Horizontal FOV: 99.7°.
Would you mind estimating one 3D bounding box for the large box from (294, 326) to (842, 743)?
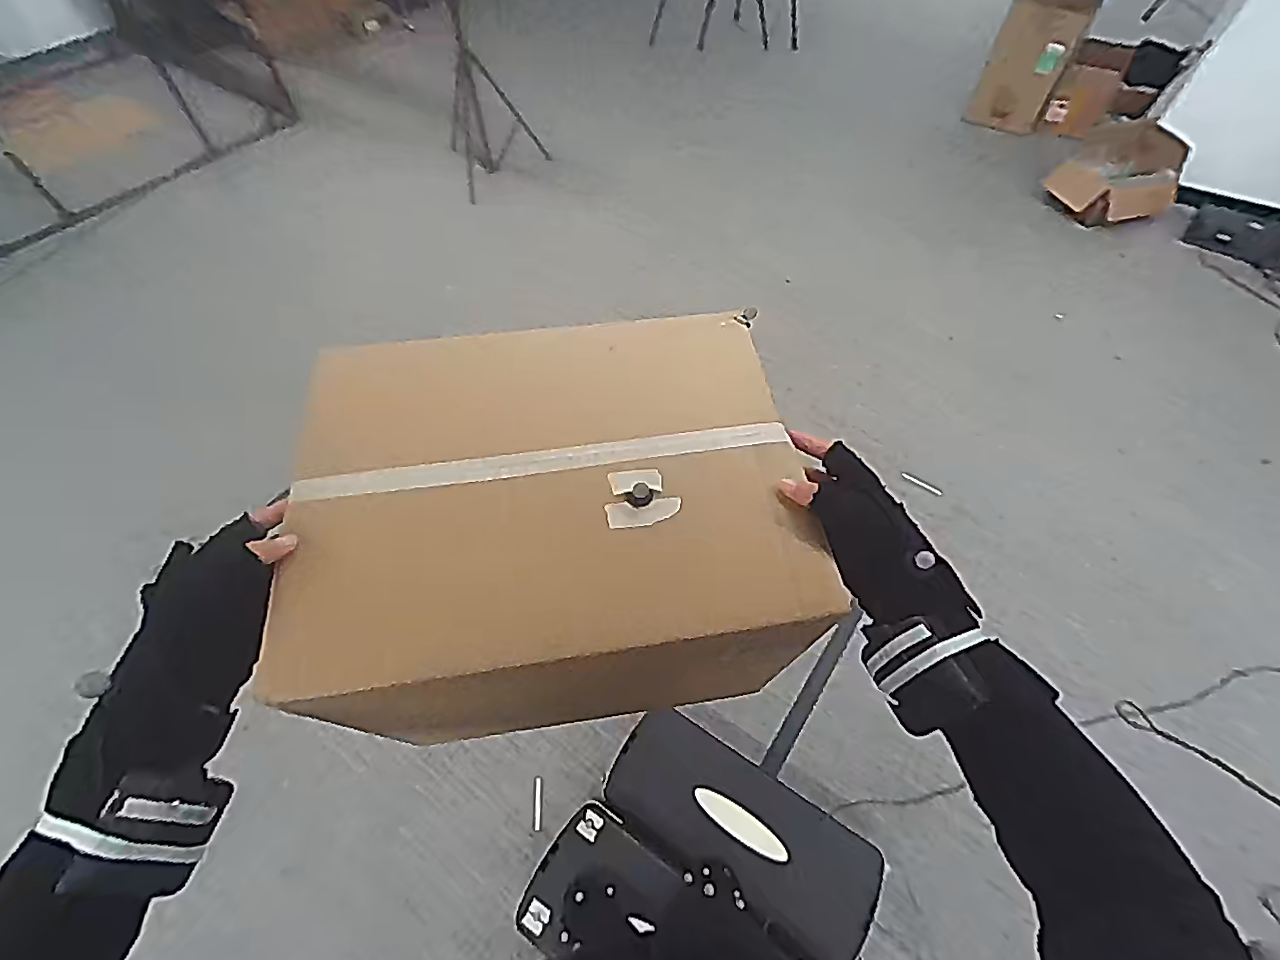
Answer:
[{"bbox_3d":[-0.070,0.070,0.587,0.408,0.320,0.320,-7,60,-6],"label":"large box"}]

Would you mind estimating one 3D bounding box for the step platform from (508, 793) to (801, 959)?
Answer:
[{"bbox_3d":[0.045,1.018,1.187,0.684,0.204,0.286,27,61,19],"label":"step platform"}]
